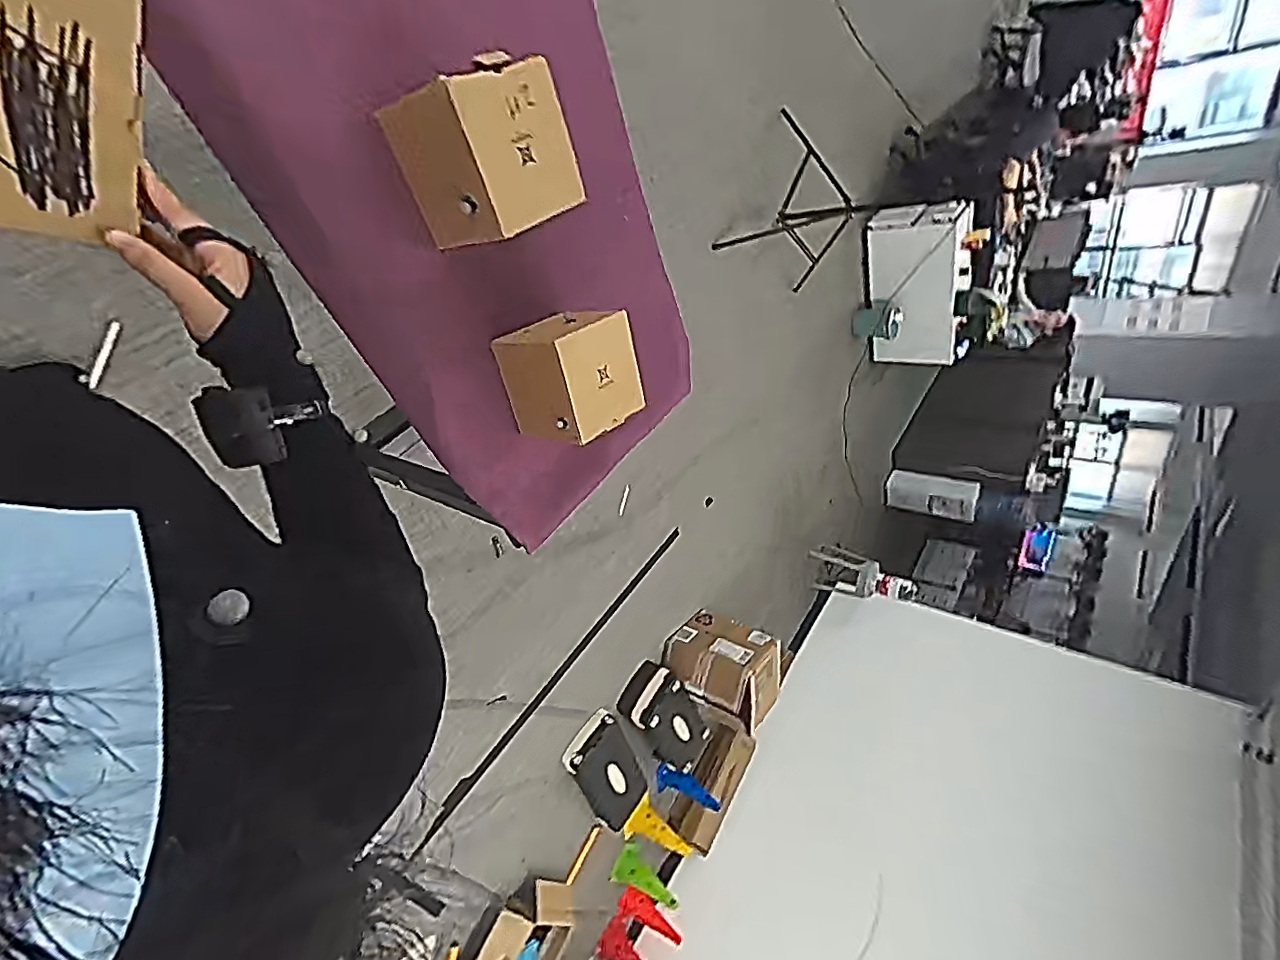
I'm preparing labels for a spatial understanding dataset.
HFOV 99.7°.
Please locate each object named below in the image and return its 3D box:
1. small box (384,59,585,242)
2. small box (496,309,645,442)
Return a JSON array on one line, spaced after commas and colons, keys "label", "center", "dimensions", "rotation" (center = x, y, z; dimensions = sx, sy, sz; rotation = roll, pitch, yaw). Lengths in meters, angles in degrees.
[{"label": "small box", "center": [-0.210, -0.443, 0.747], "dimensions": [0.168, 0.176, 0.179], "rotation": [-45, 132, -34]}, {"label": "small box", "center": [-0.119, -0.184, 0.933], "dimensions": [0.168, 0.176, 0.179], "rotation": [-38, 127, -38]}]
